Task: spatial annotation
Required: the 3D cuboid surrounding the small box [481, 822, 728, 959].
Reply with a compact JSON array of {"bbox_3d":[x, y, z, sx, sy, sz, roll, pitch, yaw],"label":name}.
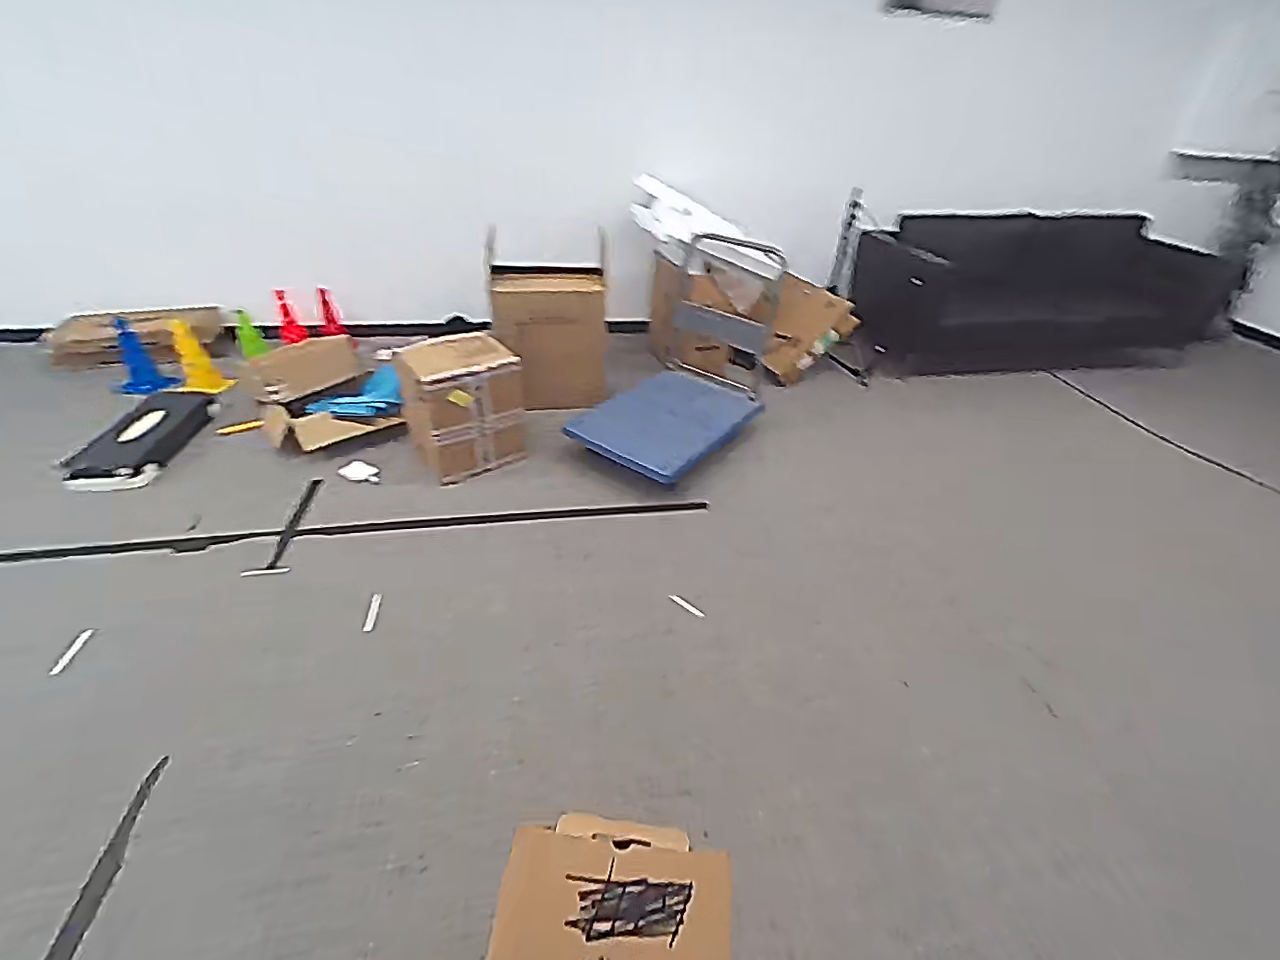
[{"bbox_3d":[-0.028,0.386,0.405,0.168,0.176,0.179,5,46,4],"label":"small box"}]
